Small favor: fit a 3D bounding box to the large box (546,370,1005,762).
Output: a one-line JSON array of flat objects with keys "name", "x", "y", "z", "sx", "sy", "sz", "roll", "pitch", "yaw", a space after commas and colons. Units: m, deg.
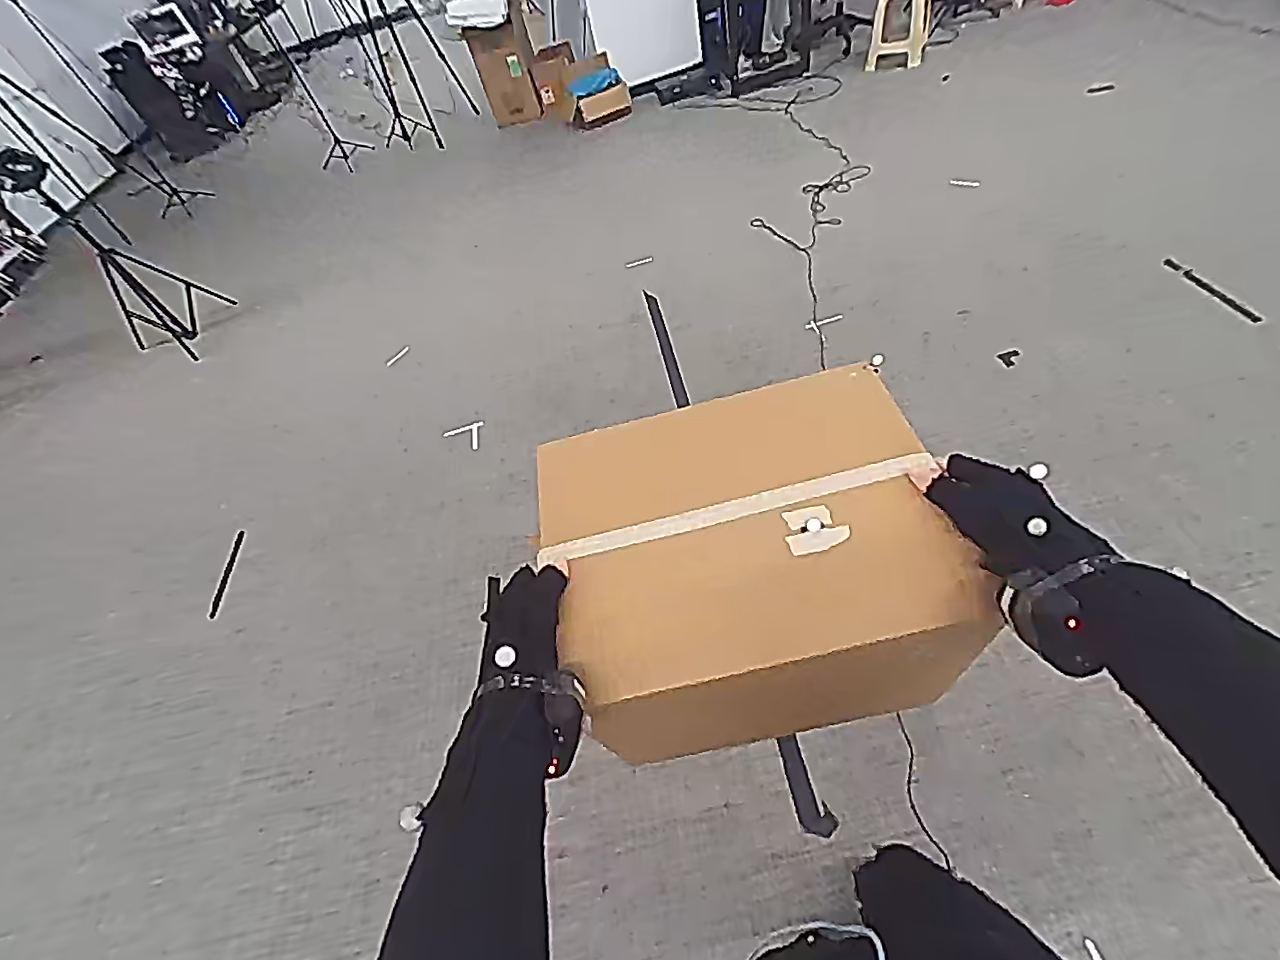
[{"name": "large box", "x": 0.127, "y": 0.121, "z": 0.681, "sx": 0.408, "sy": 0.320, "sz": 0.320, "roll": -14, "pitch": 53, "yaw": 3}]
